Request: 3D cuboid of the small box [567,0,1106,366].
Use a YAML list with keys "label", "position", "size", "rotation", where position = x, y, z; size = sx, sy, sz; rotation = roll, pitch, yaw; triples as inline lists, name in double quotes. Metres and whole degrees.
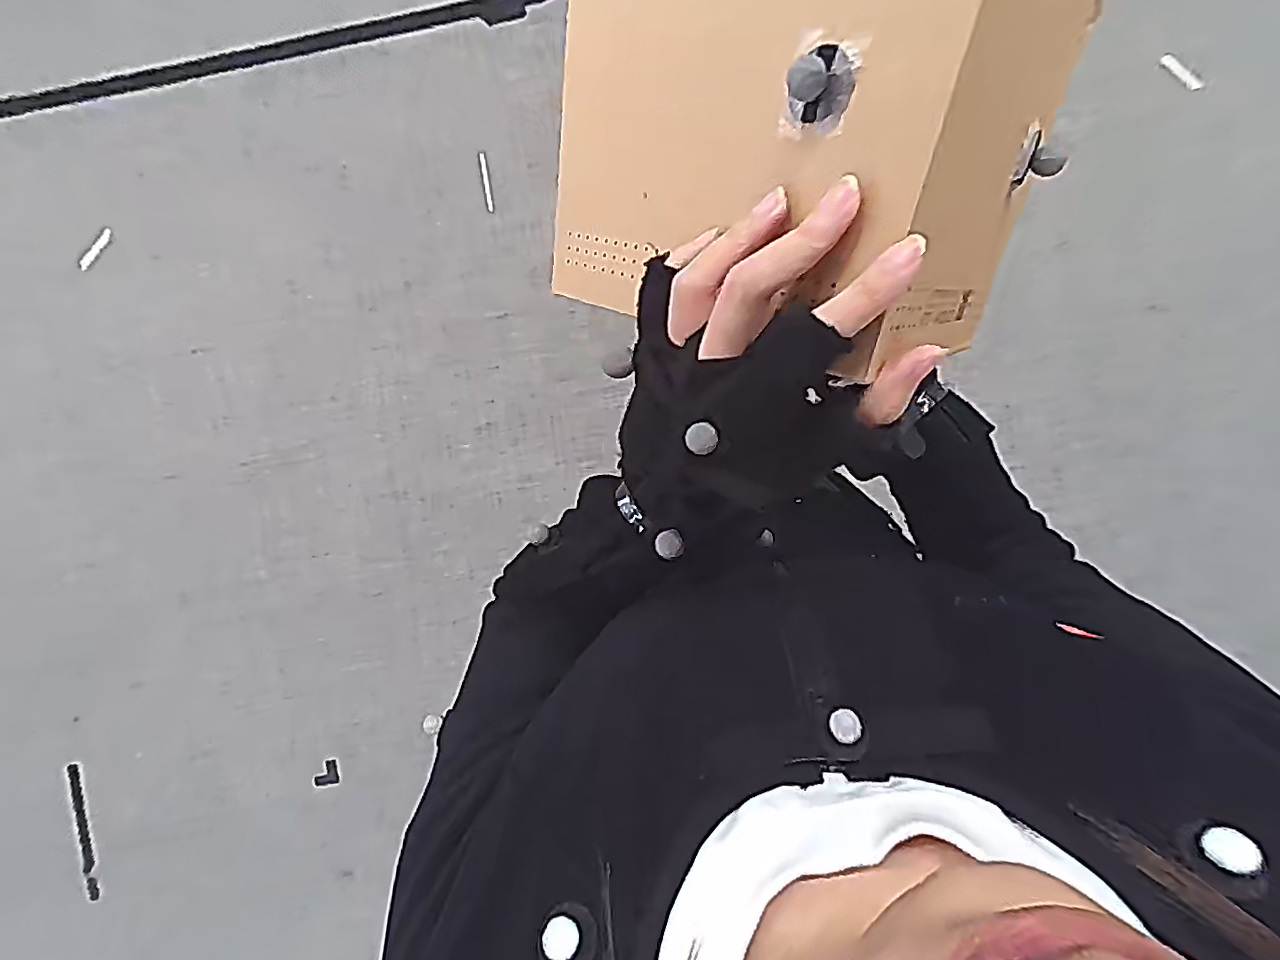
- label: "small box"
  position: [0.082, -0.157, 0.269]
  size: [0.179, 0.168, 0.176]
  rotation: [27, 121, 34]
